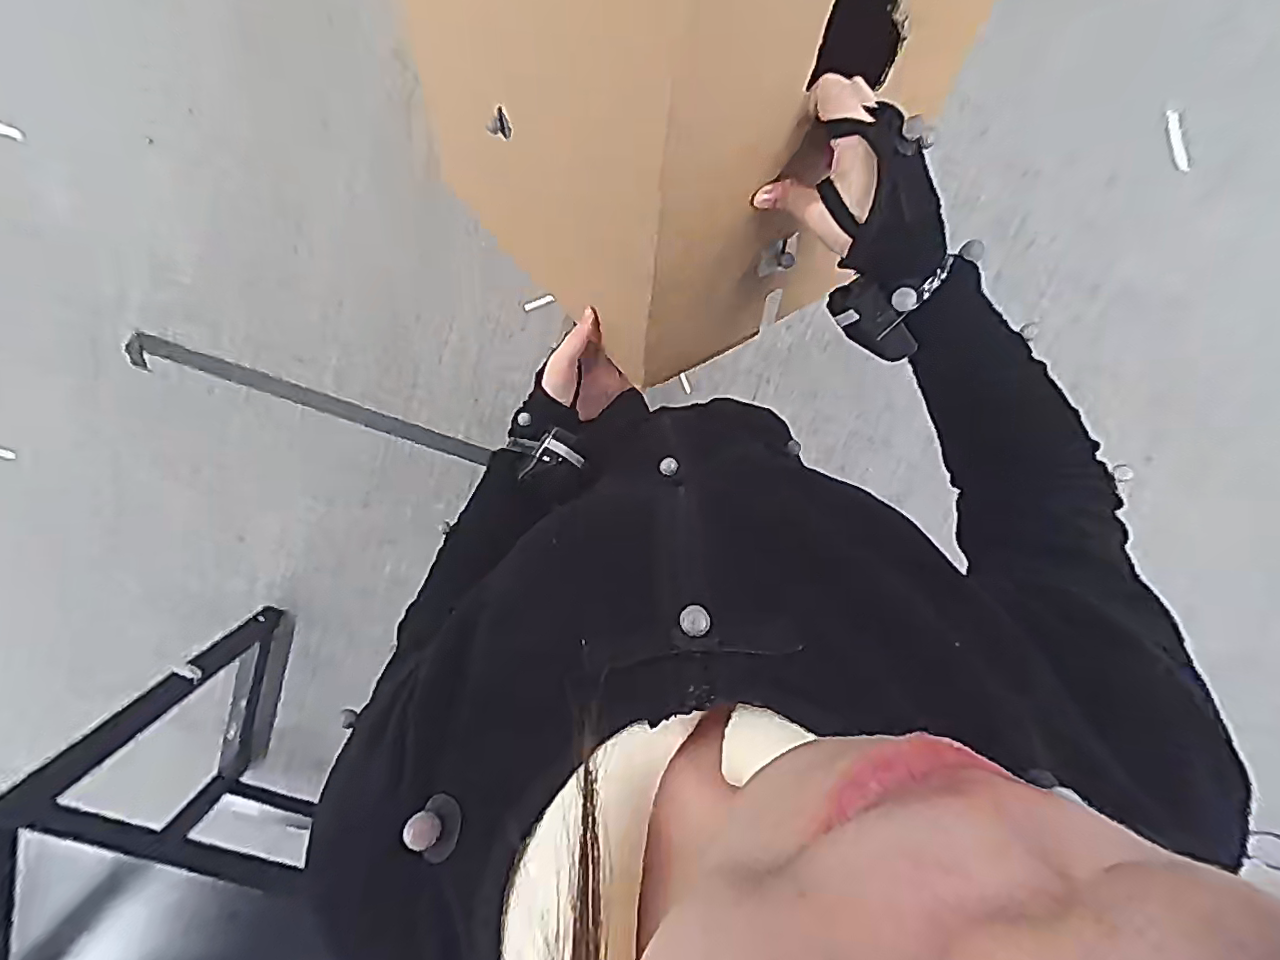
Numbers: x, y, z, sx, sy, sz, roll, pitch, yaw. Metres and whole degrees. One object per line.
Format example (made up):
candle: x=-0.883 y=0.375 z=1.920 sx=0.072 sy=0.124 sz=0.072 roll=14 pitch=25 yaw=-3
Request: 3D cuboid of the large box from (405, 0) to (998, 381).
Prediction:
large box: x=0.022 y=-0.366 z=0.481 sx=0.320 sy=0.320 sz=0.408 roll=-30 pitch=62 yaw=-21
